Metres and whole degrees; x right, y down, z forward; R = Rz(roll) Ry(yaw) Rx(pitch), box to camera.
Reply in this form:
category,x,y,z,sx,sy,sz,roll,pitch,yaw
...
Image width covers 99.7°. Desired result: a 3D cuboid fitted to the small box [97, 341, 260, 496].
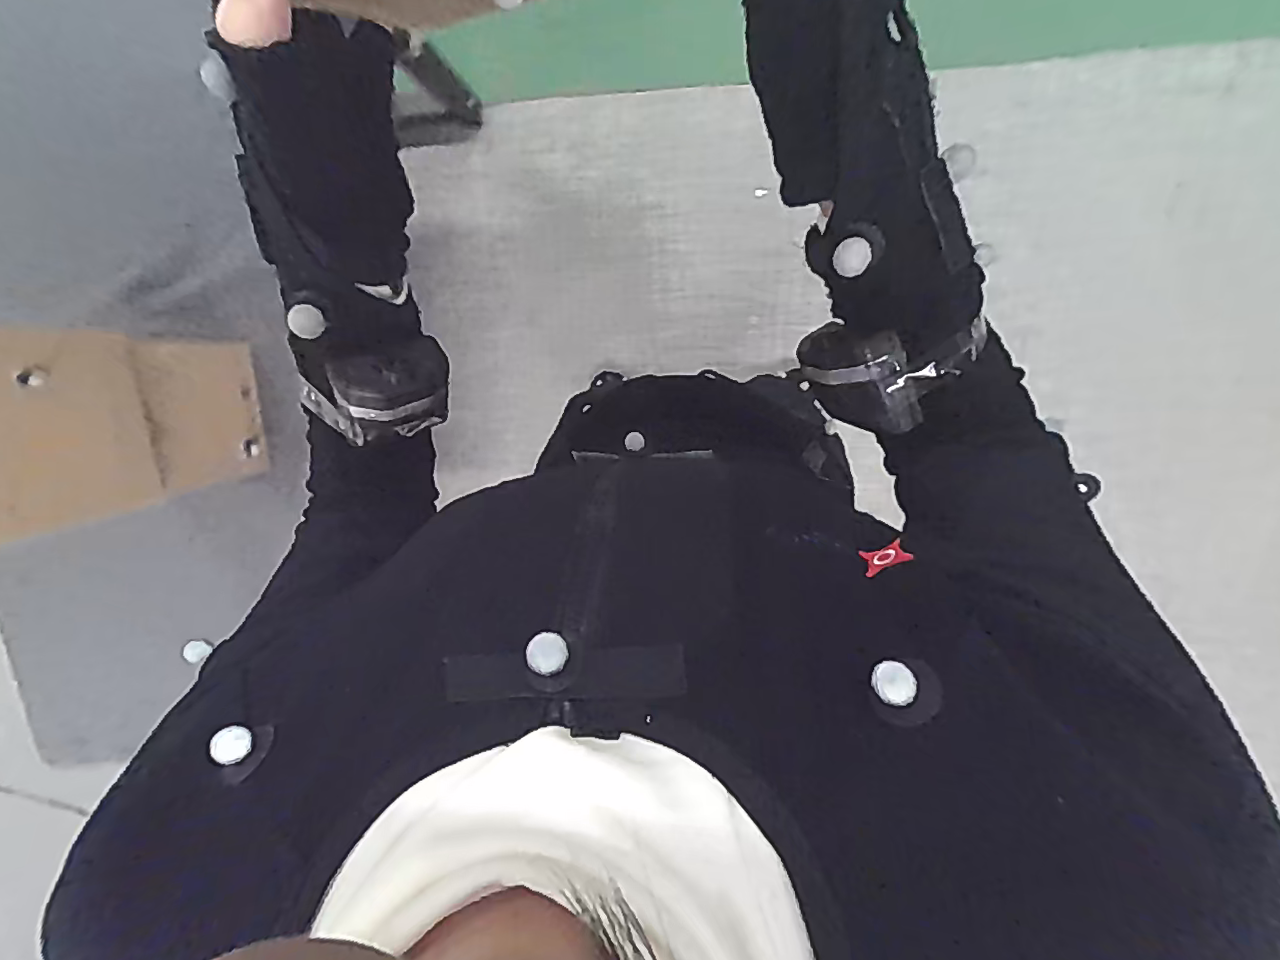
category,x,y,z,sx,sy,sz,roll,pitch,yaw
small box,-0.597,-0.081,0.650,0.179,0.176,0.168,0,103,7

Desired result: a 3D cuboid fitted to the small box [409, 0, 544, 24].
category,x,y,z,sx,sy,sz,roll,pitch,yaw
small box,-0.048,-0.291,0.186,0.179,0.176,0.168,-11,124,8
